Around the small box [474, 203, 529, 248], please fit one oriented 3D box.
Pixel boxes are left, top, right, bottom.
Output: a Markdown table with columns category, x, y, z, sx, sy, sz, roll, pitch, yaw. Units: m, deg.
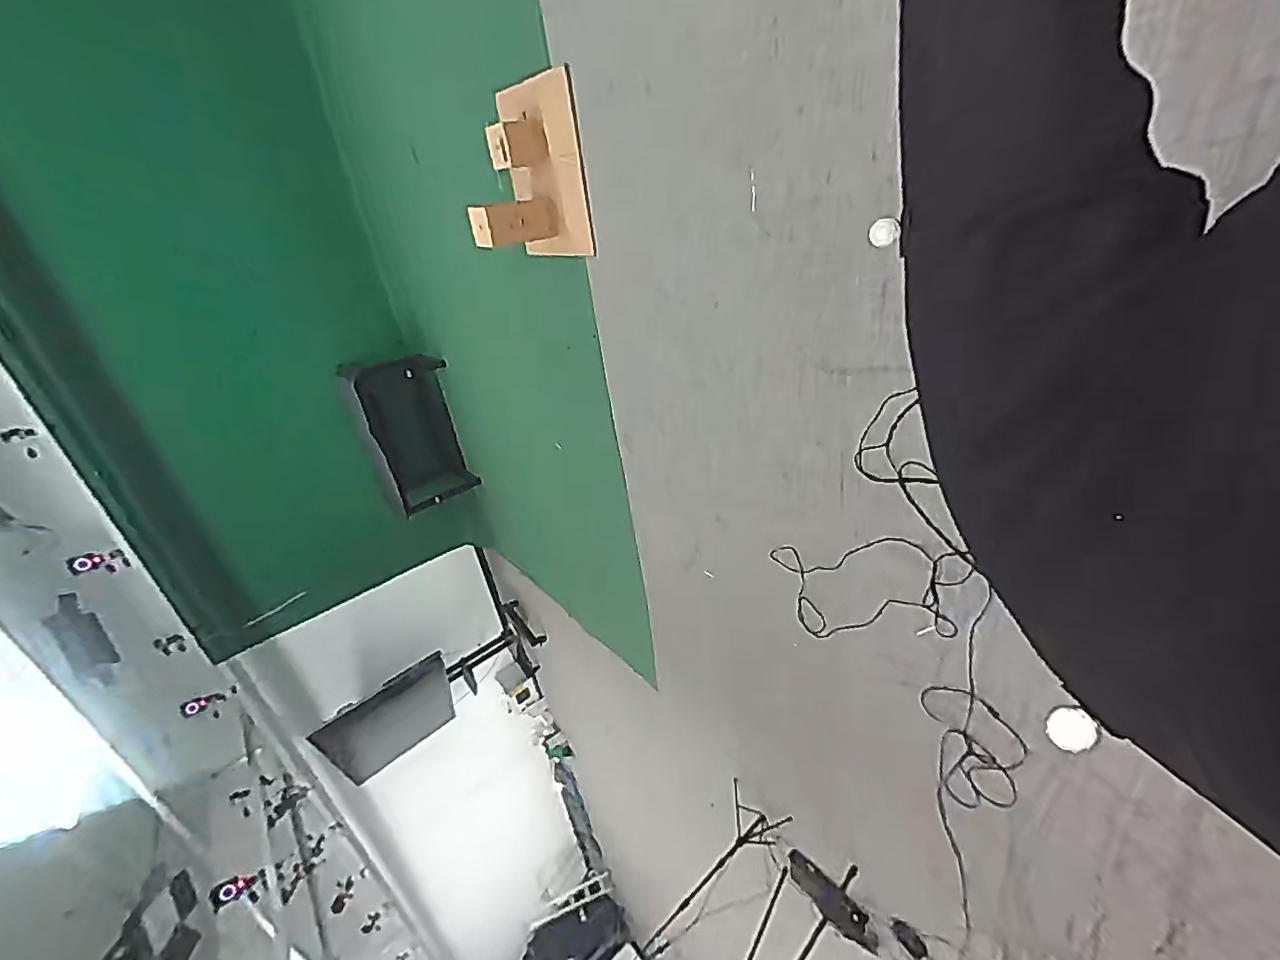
| category | x | y | z | sx | sy | sz | roll | pitch | yaw |
| --- | --- | --- | --- | --- | --- | --- | --- | --- | --- |
| small box | -0.629 | -1.159 | 2.461 | 0.179 | 0.176 | 0.168 | 28 | 134 | 44 |

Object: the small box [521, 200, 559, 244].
| category | x | y | z | sx | sy | sz | roll | pitch | yaw |
| --- | --- | --- | --- | --- | --- | --- | --- | --- | --- |
| small box | -0.496 | -1.212 | 2.538 | 0.179 | 0.176 | 0.168 | 28 | 135 | 45 |
